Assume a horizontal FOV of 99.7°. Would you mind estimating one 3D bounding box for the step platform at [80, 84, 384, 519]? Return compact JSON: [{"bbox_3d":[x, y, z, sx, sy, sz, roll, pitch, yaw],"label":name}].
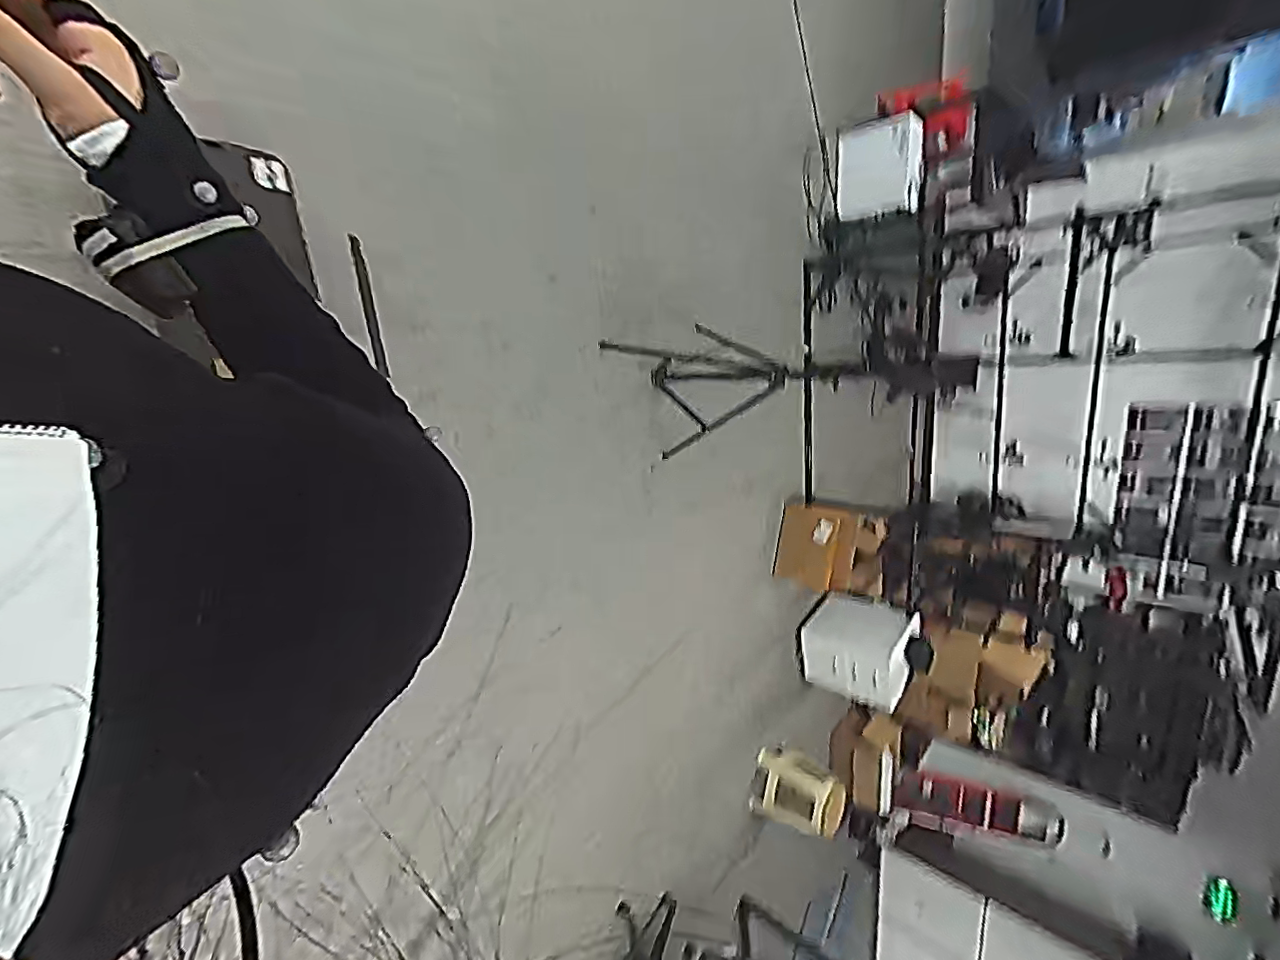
[{"bbox_3d":[-0.716,-0.285,0.991,0.286,0.204,0.684,-22,113,-44],"label":"step platform"}]
